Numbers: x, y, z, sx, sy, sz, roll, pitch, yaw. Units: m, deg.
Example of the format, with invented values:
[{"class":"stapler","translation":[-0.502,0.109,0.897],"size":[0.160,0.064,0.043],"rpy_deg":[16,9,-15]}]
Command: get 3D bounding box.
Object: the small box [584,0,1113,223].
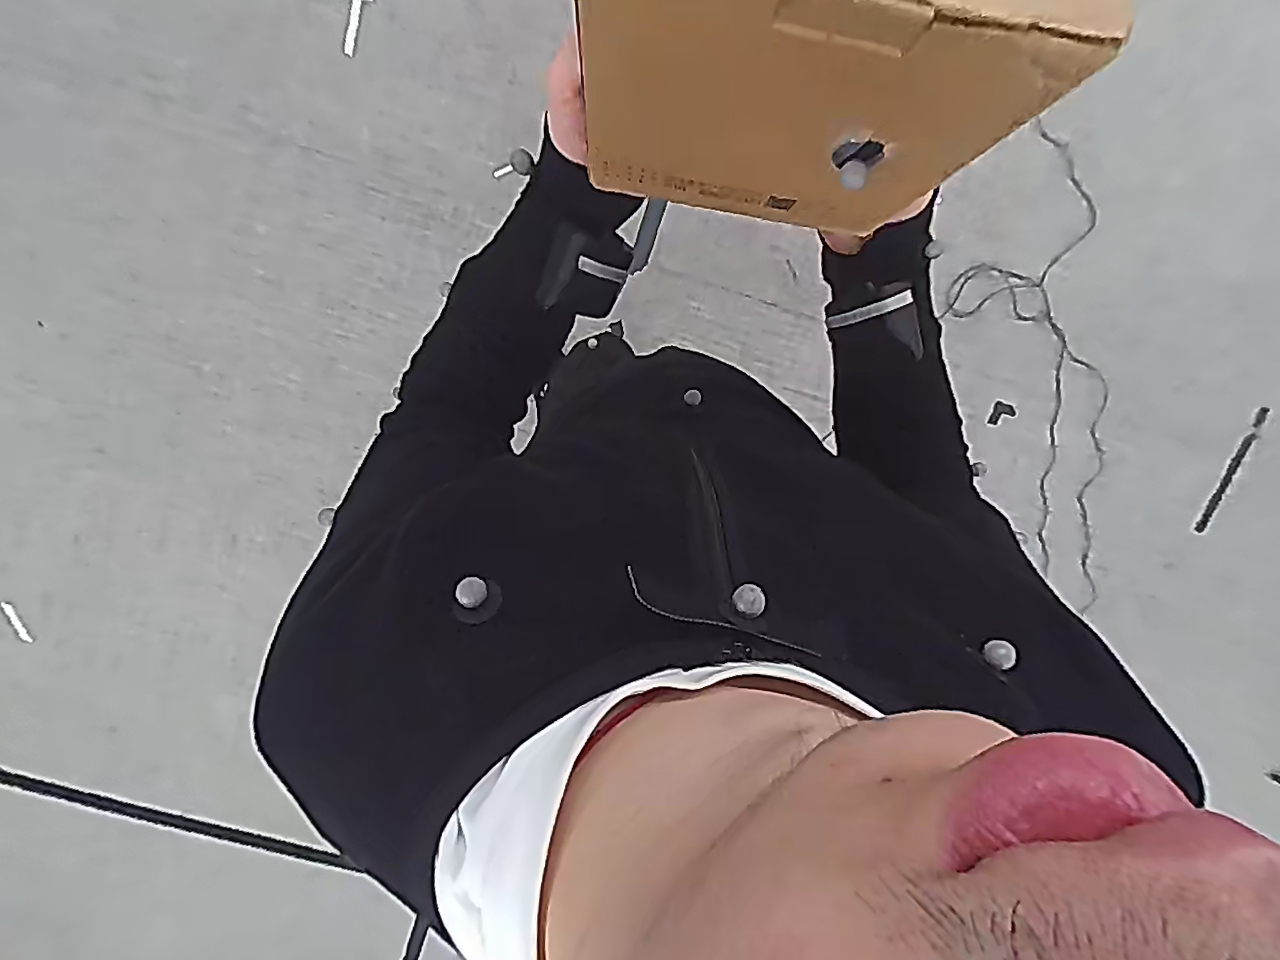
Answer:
[{"class":"small box","translation":[0.071,-0.235,0.233],"size":[0.168,0.176,0.179],"rpy_deg":[8,96,-6]}]
